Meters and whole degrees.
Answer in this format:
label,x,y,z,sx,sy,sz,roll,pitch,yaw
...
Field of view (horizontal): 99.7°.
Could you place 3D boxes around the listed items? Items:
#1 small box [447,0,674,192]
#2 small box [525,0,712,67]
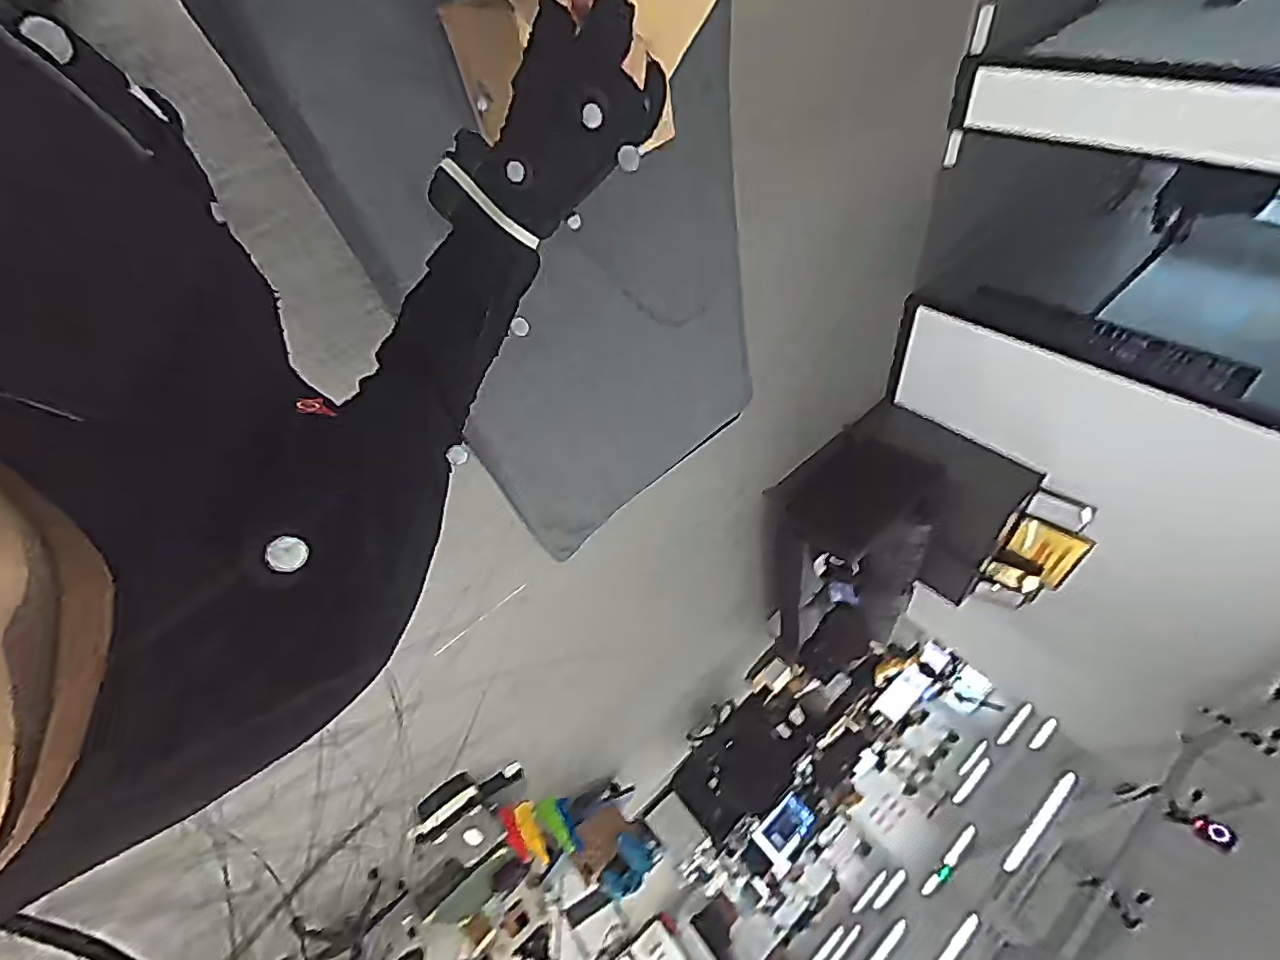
label,x,y,z,sx,sy,sz,roll,pitch,yaw
small box,-0.086,-0.468,0.626,0.179,0.176,0.168,-38,143,-18
small box,-0.025,-0.417,0.336,0.179,0.176,0.168,-55,150,13
